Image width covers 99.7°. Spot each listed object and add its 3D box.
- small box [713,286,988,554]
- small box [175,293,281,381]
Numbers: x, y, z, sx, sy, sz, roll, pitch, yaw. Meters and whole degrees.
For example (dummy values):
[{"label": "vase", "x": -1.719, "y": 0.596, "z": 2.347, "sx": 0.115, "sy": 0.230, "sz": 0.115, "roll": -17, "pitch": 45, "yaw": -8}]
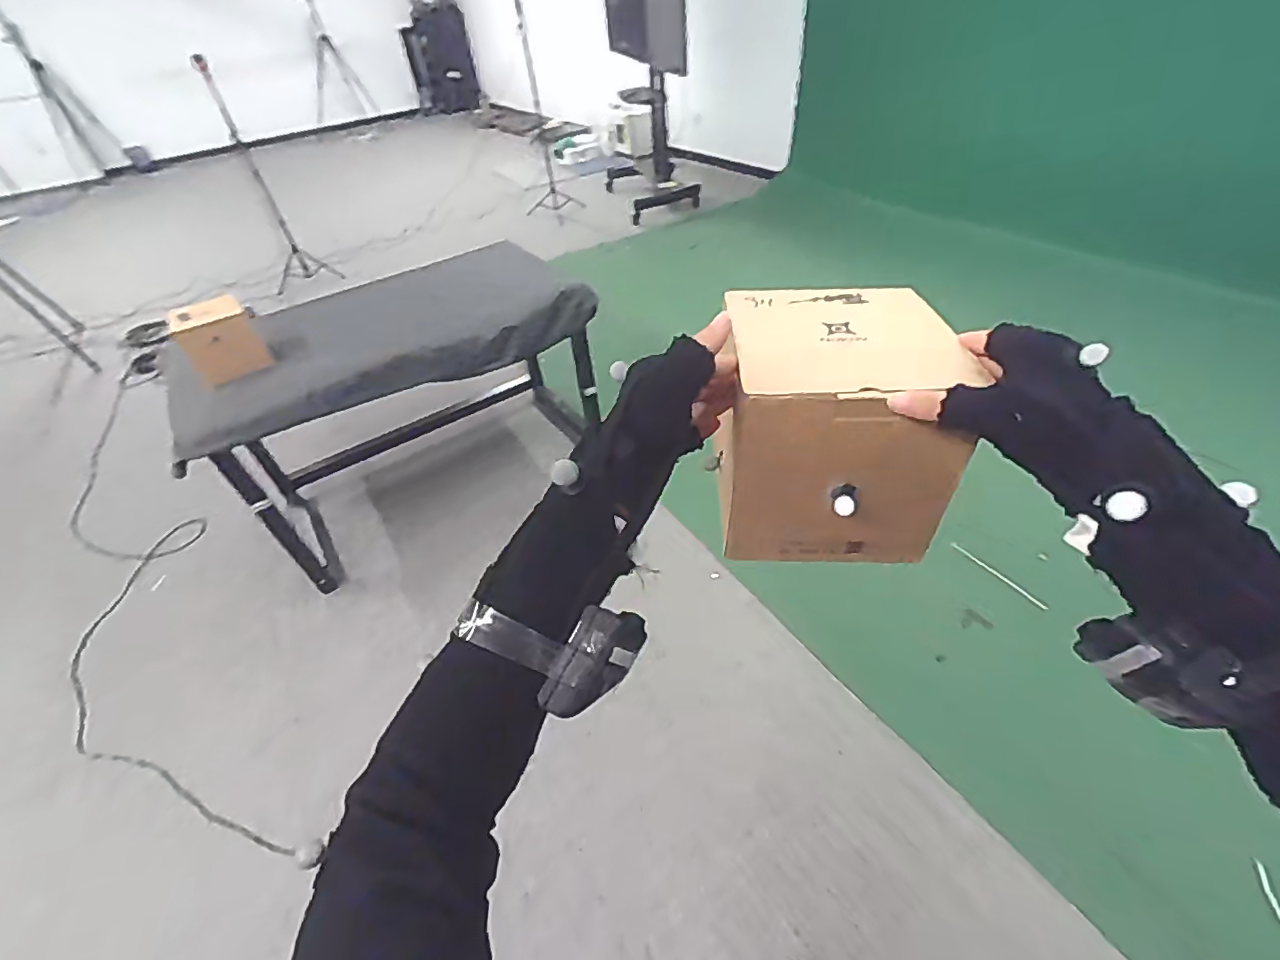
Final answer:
[{"label": "small box", "x": 0.153, "y": -0.050, "z": 0.468, "sx": 0.168, "sy": 0.176, "sz": 0.179, "roll": 0, "pitch": 42, "yaw": 3}, {"label": "small box", "x": -1.166, "y": -0.404, "z": 1.536, "sx": 0.179, "sy": 0.176, "sz": 0.168, "roll": -29, "pitch": 48, "yaw": -24}]
